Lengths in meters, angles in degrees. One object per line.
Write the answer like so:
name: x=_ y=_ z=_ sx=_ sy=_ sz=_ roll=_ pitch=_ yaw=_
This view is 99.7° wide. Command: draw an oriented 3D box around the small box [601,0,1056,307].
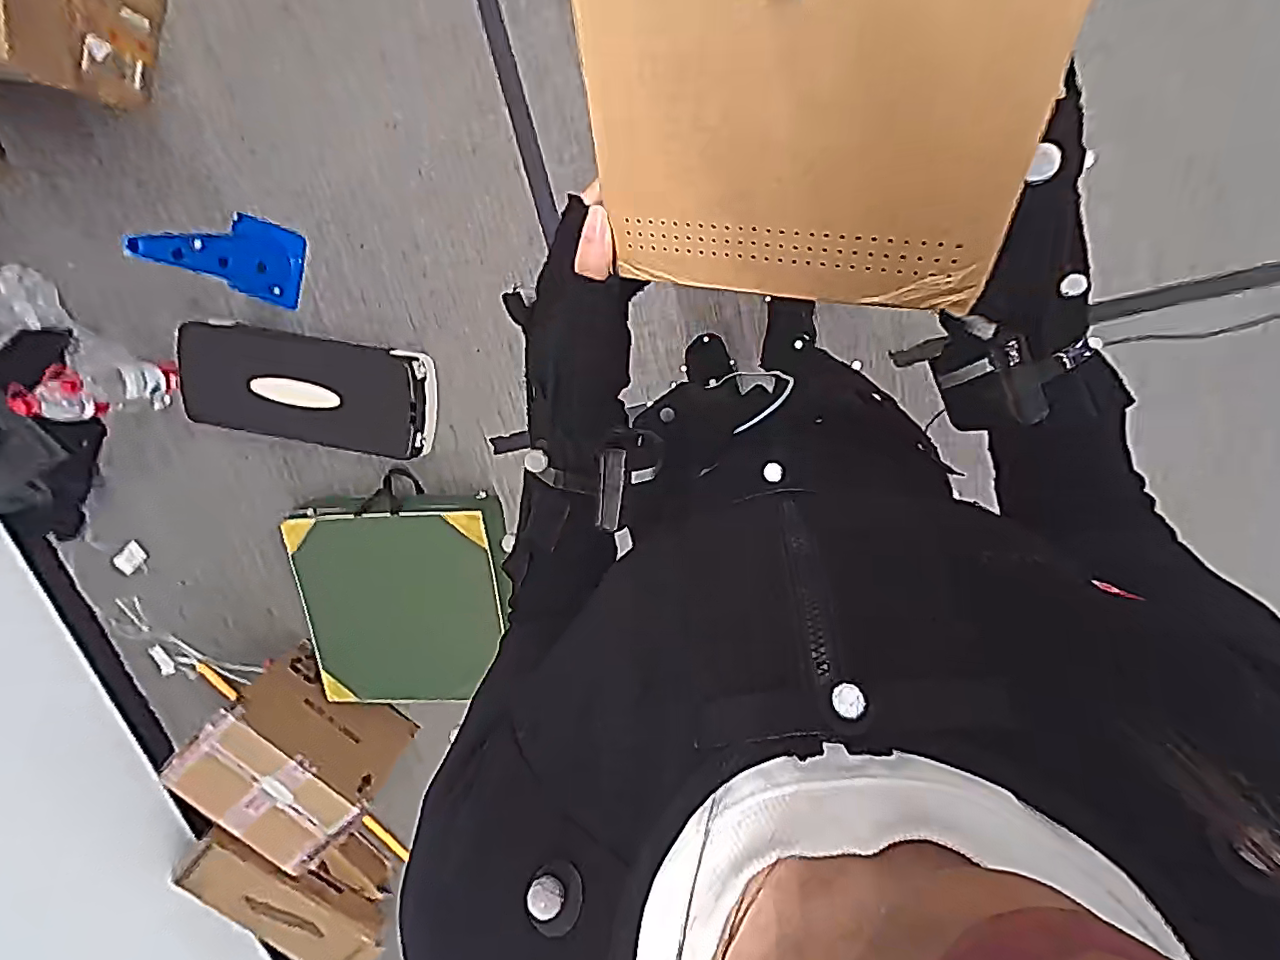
small box: x=0.091 y=-0.206 z=0.264 sx=0.179 sy=0.168 sz=0.176 roll=18 pitch=144 yaw=23
